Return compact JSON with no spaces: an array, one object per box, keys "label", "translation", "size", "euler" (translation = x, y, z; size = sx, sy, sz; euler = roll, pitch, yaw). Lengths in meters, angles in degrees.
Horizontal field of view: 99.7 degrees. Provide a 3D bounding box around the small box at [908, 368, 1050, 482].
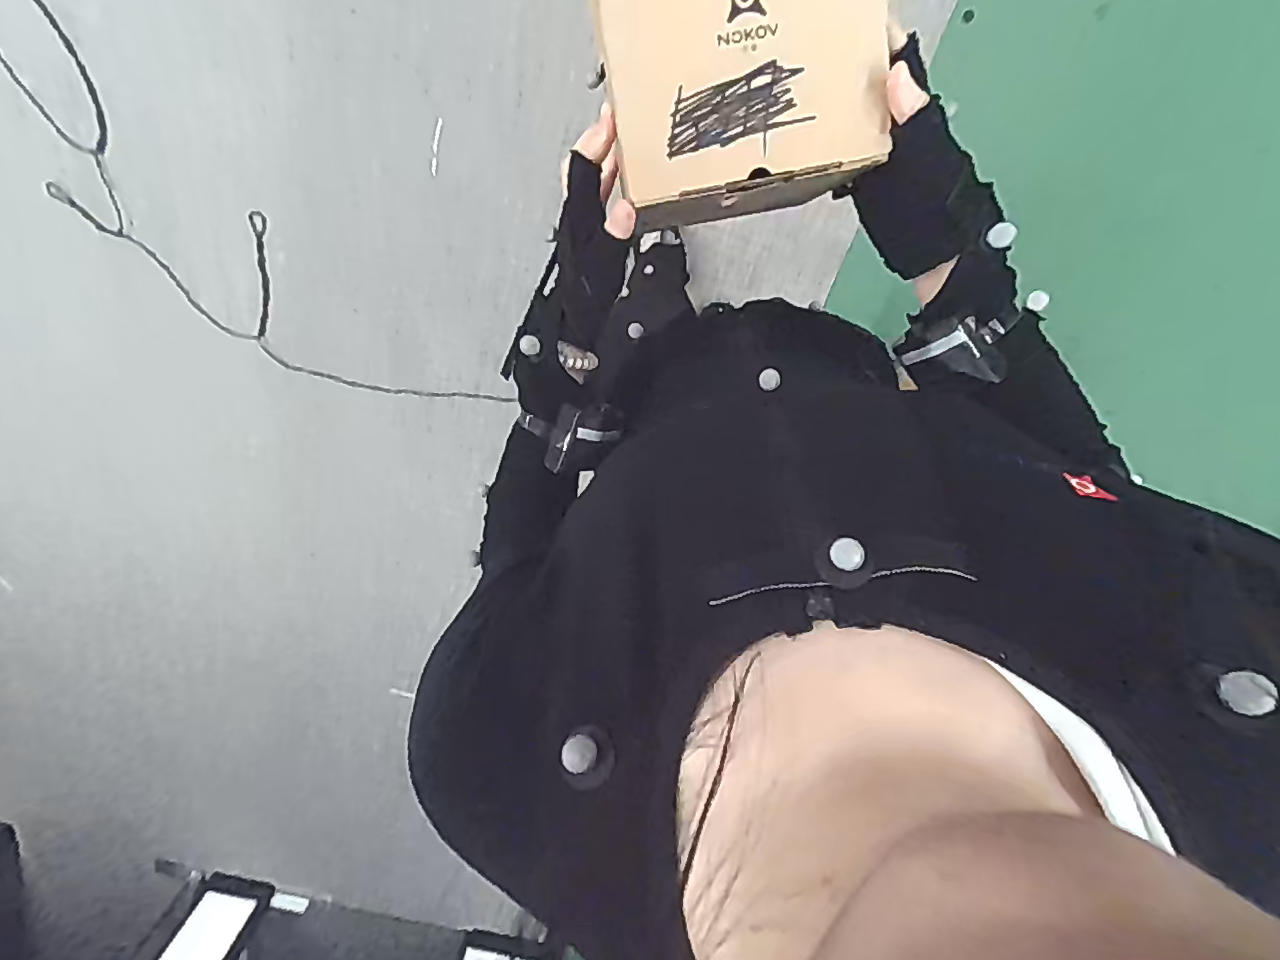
[{"label":"small box","translation":[0.725,-0.128,1.185],"size":[0.168,0.176,0.179],"euler":[21,114,-5]}]
